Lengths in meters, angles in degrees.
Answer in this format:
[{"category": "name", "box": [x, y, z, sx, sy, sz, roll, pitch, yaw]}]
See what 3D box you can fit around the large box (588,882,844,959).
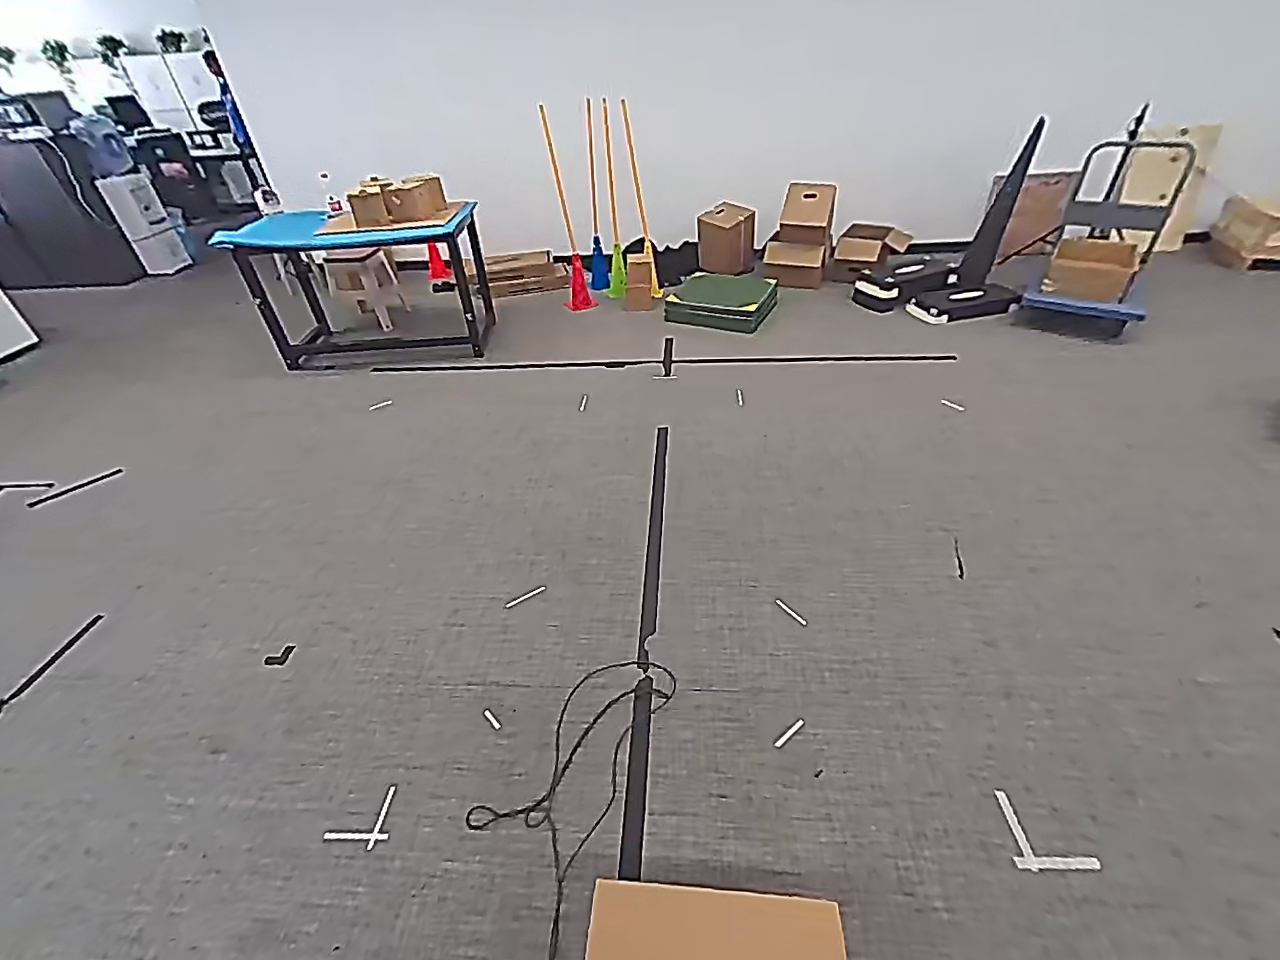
[{"category": "large box", "box": [0.116, 0.904, 0.880, 0.408, 0.320, 0.320, 1, 39, 6]}]
